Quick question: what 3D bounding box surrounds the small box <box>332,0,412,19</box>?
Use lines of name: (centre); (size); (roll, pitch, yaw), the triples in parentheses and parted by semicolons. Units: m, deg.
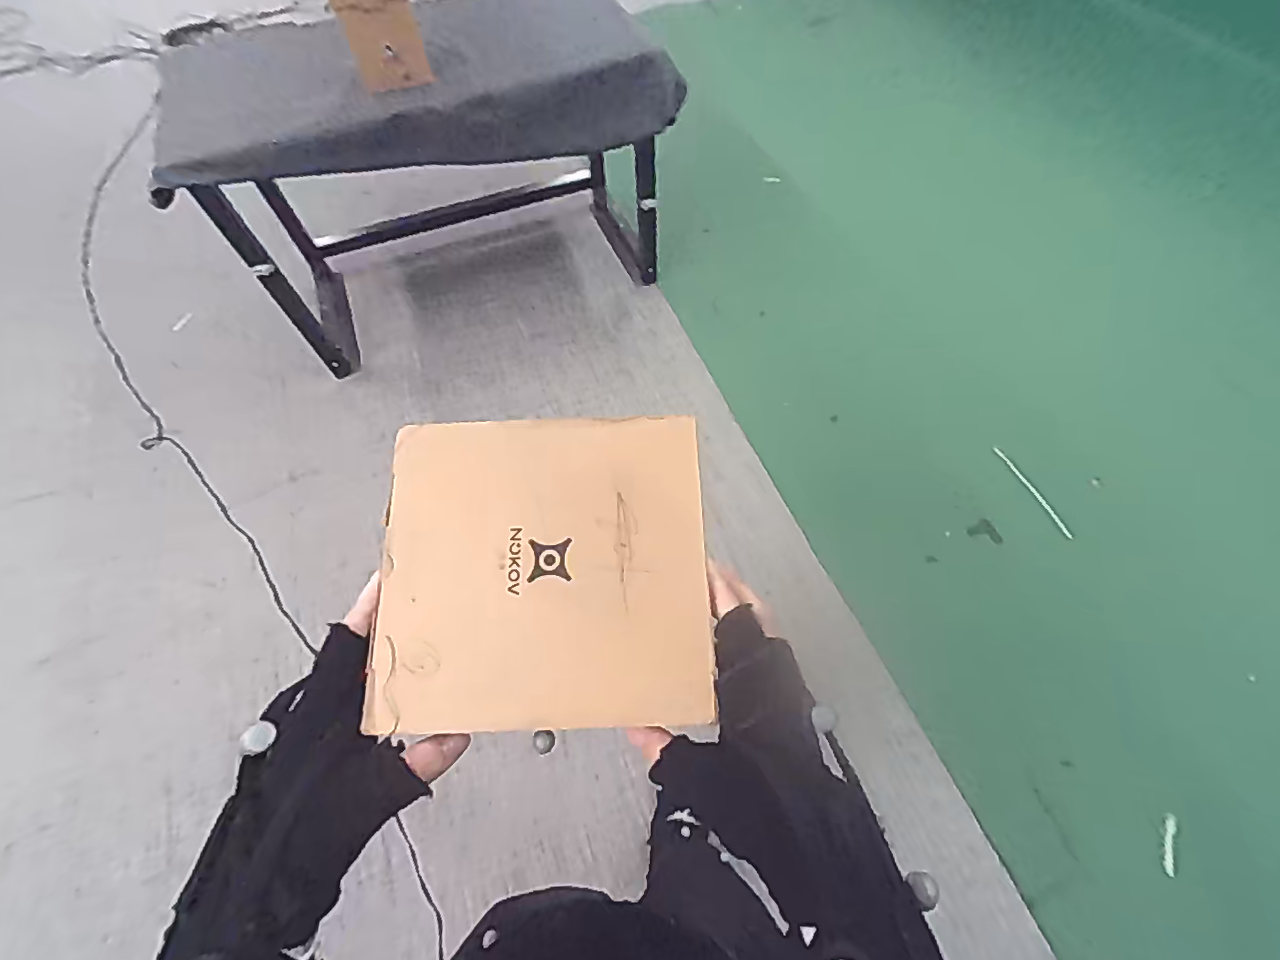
small box: (-0.604, -1.132, 1.158); (0.179, 0.176, 0.168); (-21, 61, -11)

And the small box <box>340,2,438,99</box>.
small box: (-0.606, -1.052, 1.303); (0.168, 0.176, 0.179); (-20, 61, -9)

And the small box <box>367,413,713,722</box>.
small box: (-0.052, 0.067, 0.369); (0.179, 0.176, 0.168); (-3, 71, -1)
